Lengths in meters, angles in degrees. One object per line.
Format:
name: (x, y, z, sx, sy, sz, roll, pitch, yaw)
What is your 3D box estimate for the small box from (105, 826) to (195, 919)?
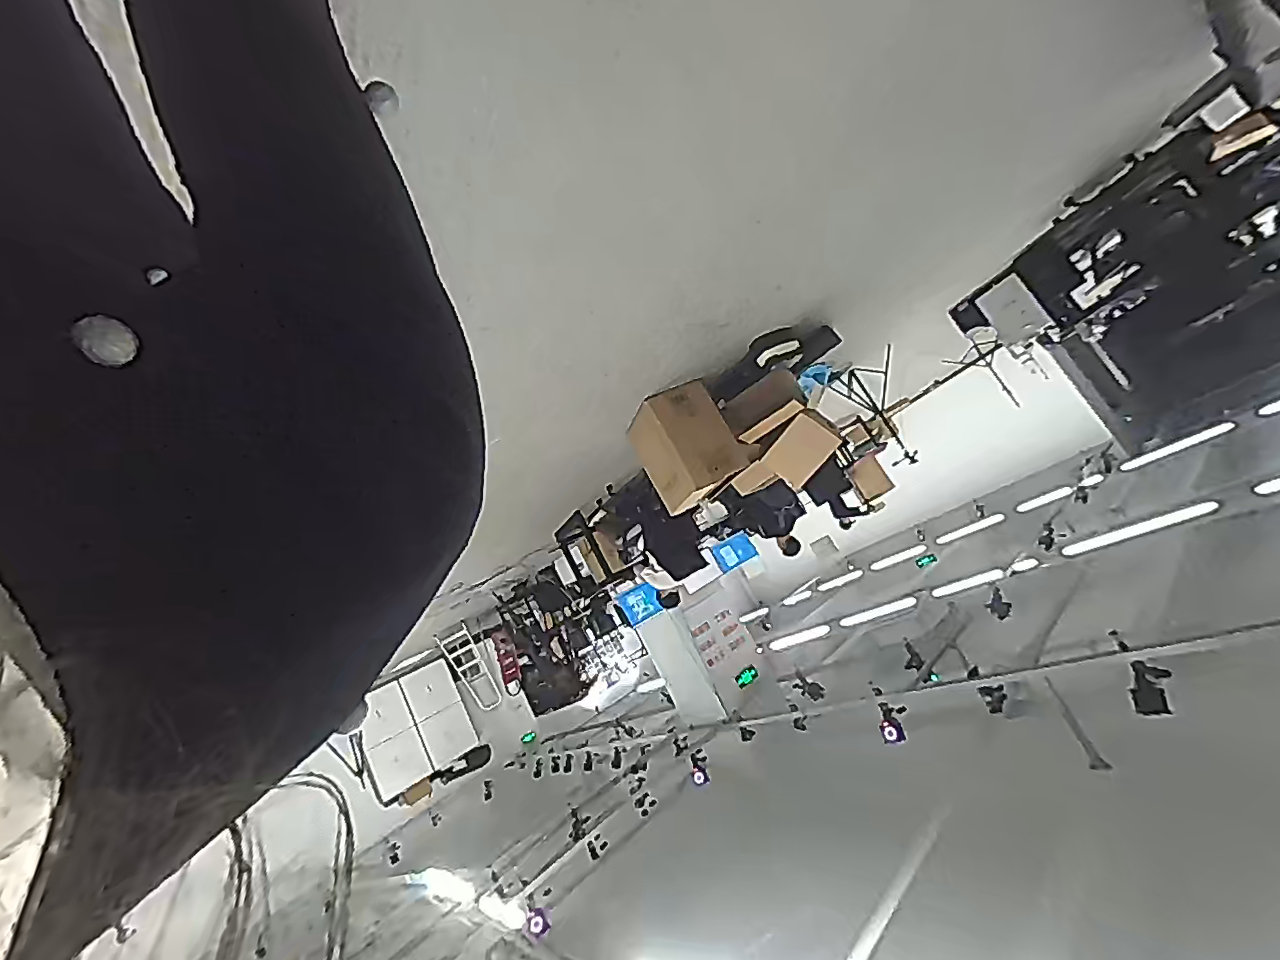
small box: (-1.548, 1.229, 1.708, 0.179, 0.176, 0.168, -19, 166, -40)
